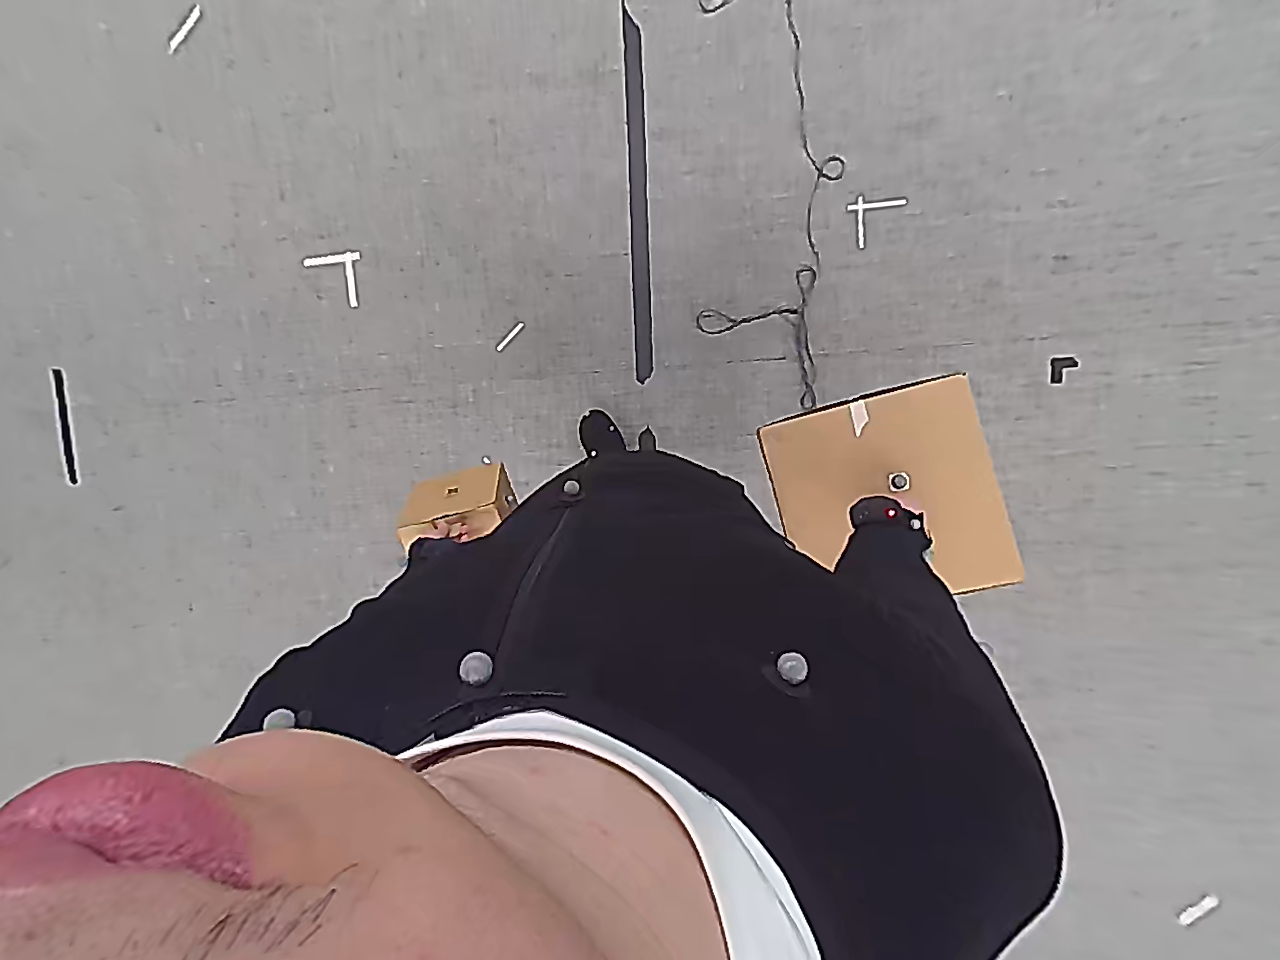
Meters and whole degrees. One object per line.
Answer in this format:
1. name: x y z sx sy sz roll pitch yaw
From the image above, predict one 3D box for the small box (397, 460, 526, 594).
1. small box: -0.314 0.090 0.990 0.168 0.179 0.176 -14 118 -3
